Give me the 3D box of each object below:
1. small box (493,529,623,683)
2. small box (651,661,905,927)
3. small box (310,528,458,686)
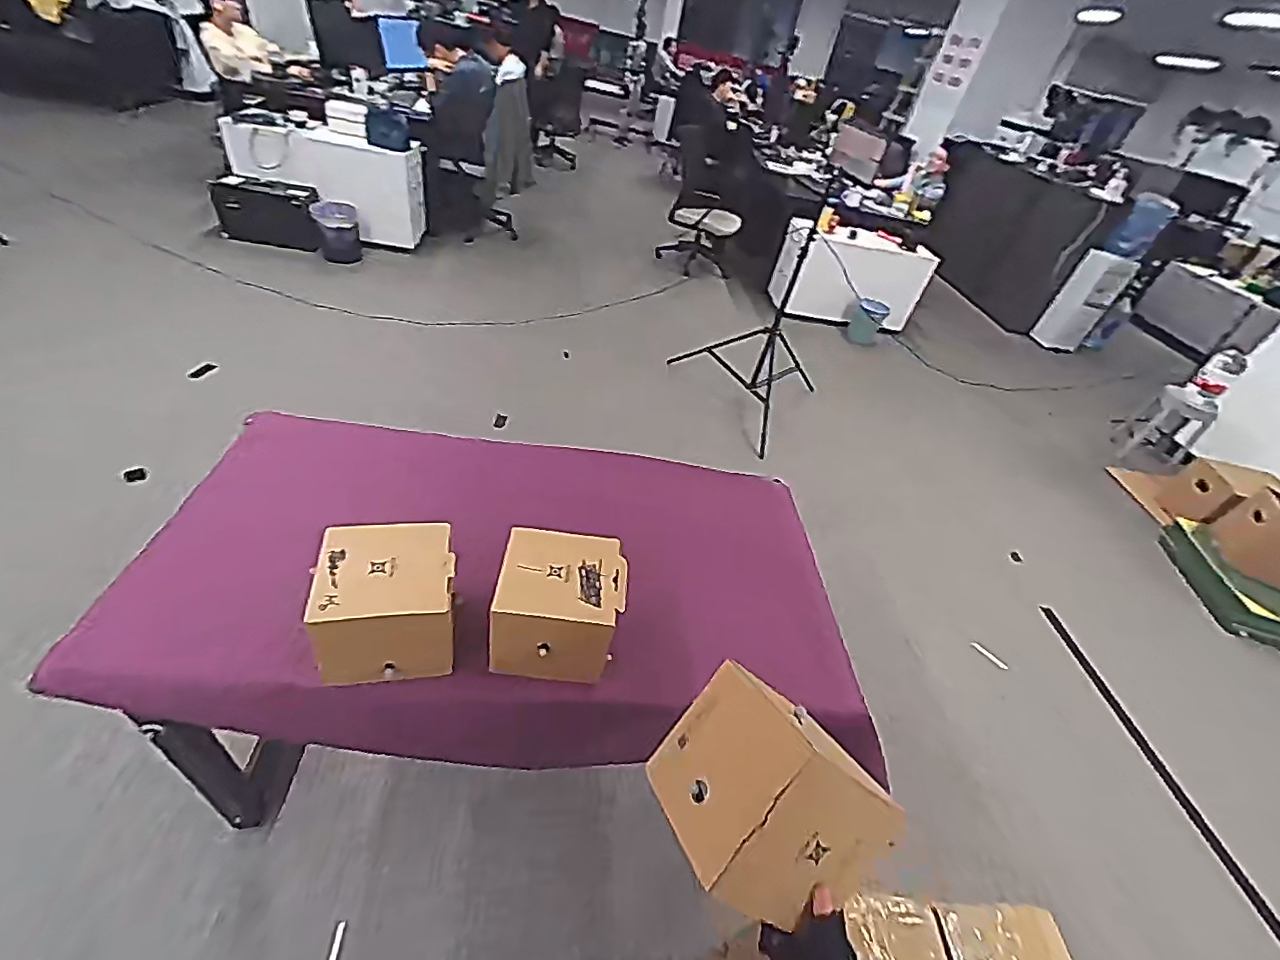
[{"bbox_3d":[-0.130,0.205,0.865,0.179,0.176,0.168,8,39,-5],"label":"small box"},{"bbox_3d":[0.140,0.330,0.599,0.179,0.168,0.176,39,-3,-25],"label":"small box"},{"bbox_3d":[-0.369,0.189,0.815,0.179,0.176,0.168,0,41,-18],"label":"small box"}]
